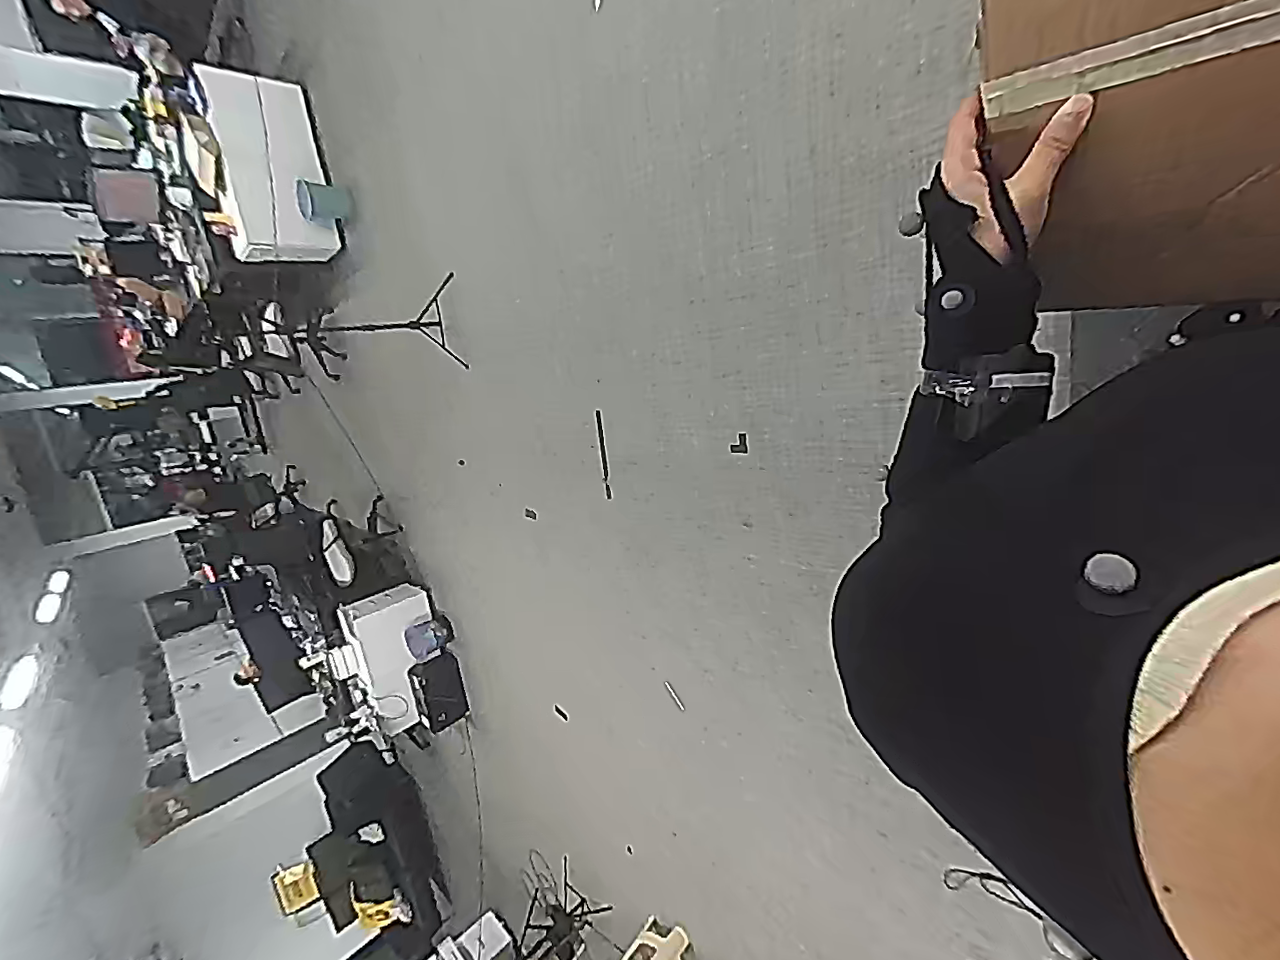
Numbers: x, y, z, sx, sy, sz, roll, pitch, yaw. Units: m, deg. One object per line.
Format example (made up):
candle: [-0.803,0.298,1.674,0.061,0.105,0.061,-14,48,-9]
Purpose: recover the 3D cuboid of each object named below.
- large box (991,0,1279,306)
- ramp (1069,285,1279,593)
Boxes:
large box: [0.446,-0.321,0.265,0.408,0.320,0.320,12,145,45]
ramp: [1.051,-0.233,0.931,0.509,0.206,0.991,2,107,45]
